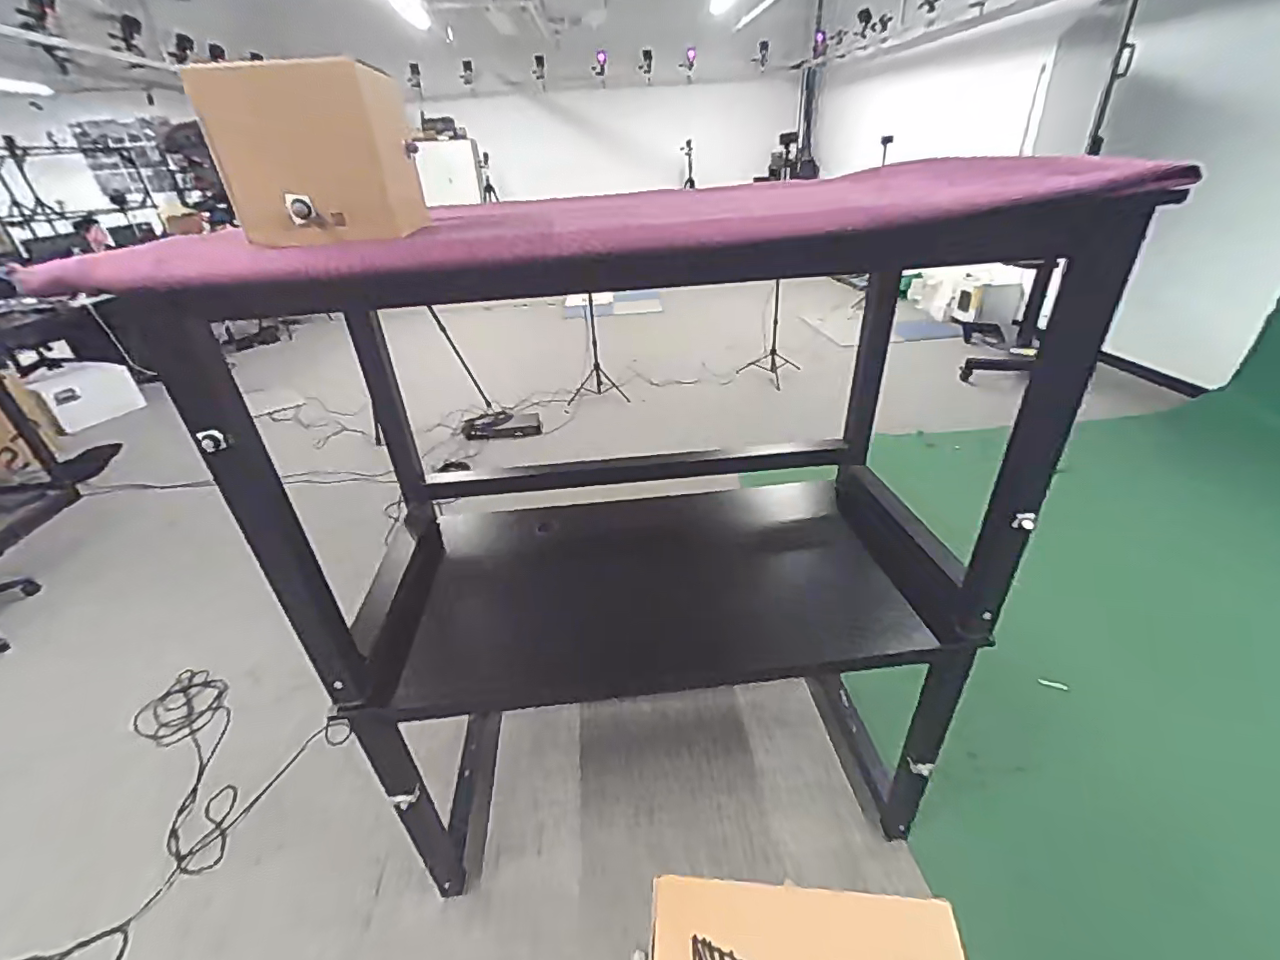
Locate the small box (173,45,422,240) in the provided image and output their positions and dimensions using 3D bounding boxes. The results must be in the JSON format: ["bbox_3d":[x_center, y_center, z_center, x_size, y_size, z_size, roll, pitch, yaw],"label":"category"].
[{"bbox_3d":[-0.367,-0.381,0.627,0.168,0.176,0.179,-8,33,-5],"label":"small box"}]
